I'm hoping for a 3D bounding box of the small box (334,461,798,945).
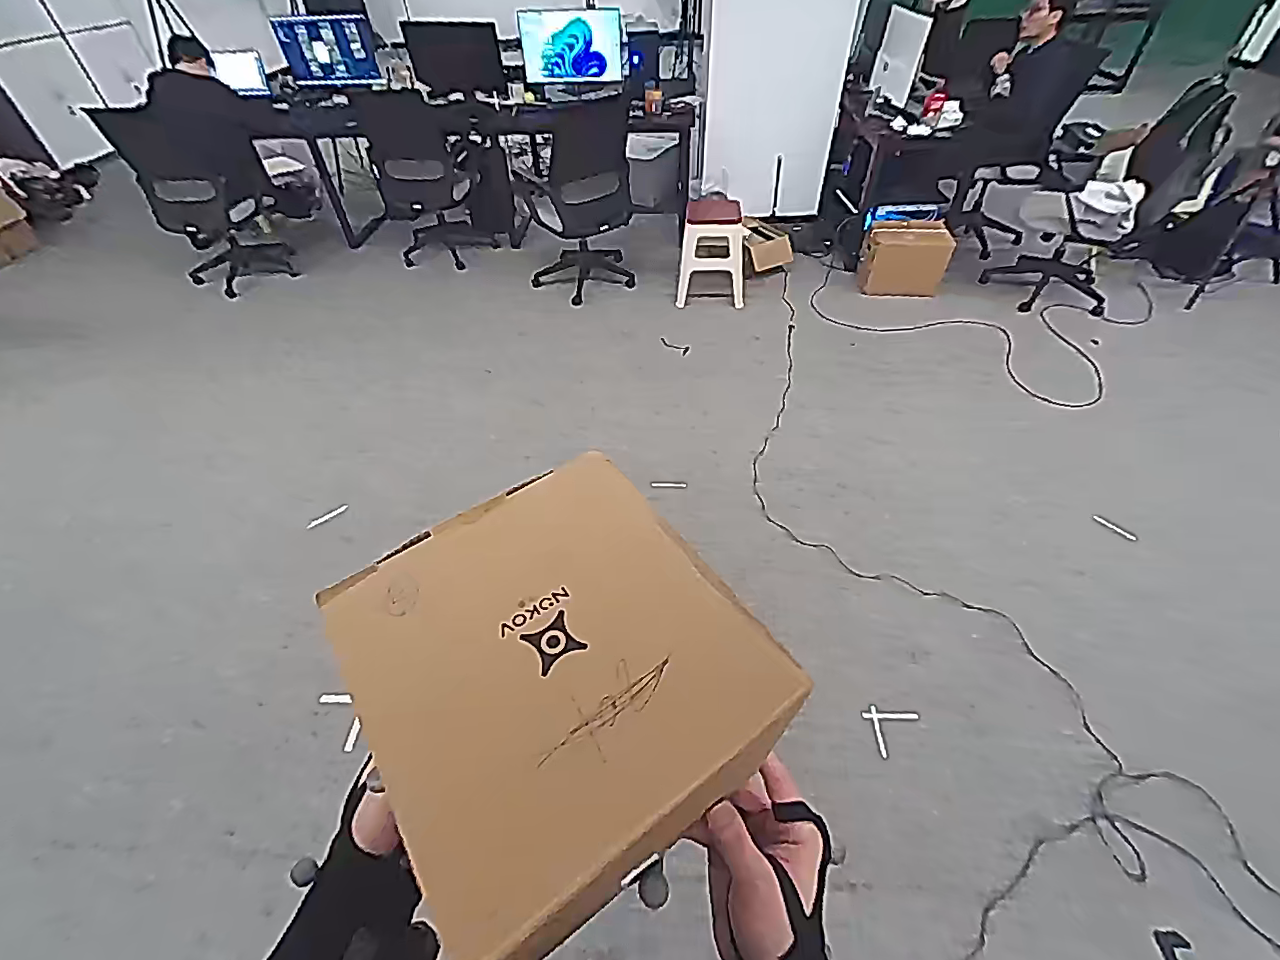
[{"bbox_3d":[-0.042,0.127,0.322,0.168,0.176,0.179,-30,57,-22],"label":"small box"}]
